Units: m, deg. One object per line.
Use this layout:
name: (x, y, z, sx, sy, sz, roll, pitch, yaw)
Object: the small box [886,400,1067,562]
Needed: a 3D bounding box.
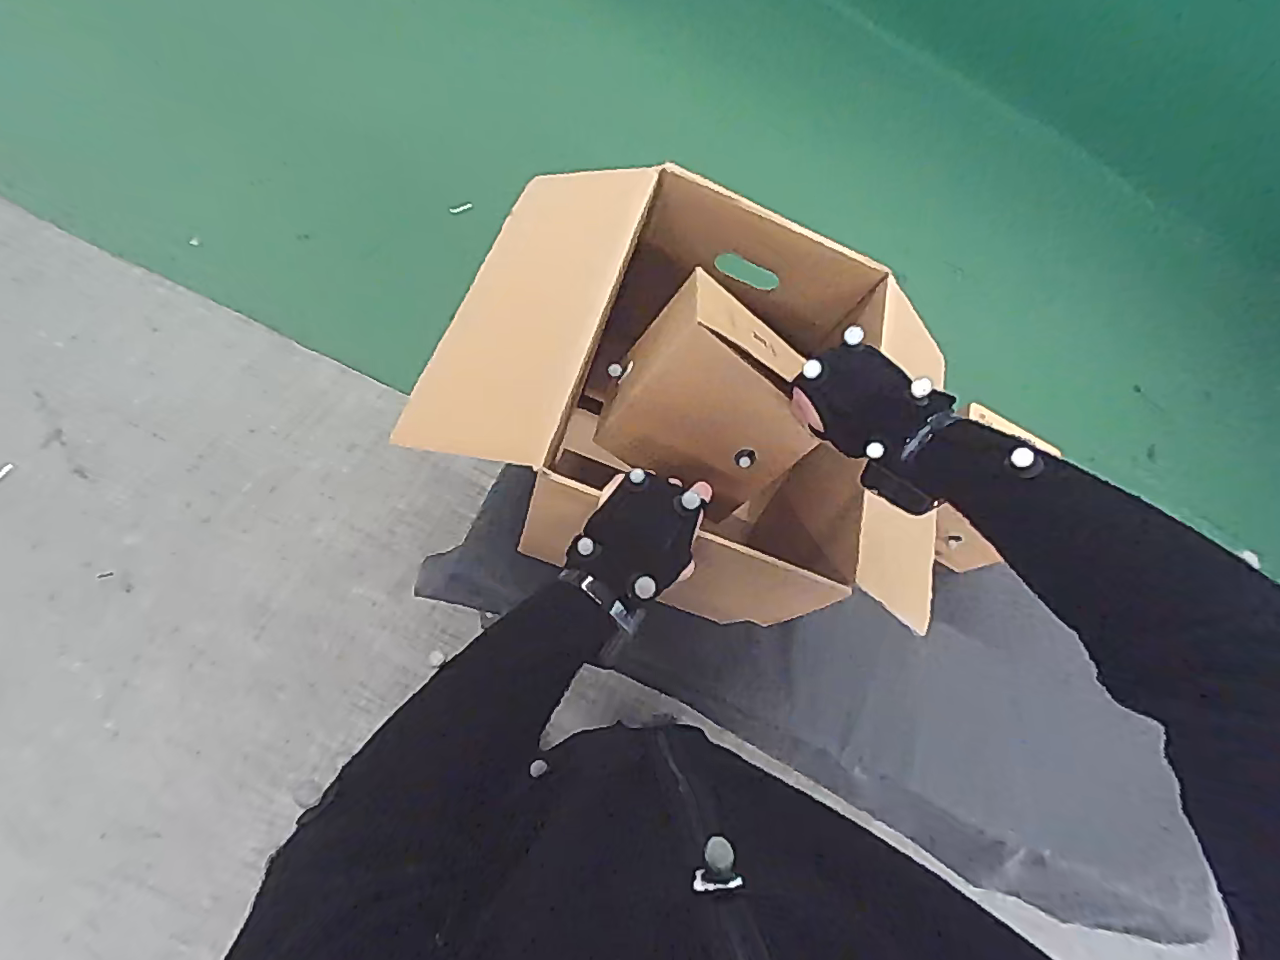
small box: (0.525, 0.012, 0.862, 0.168, 0.176, 0.179, 29, 66, -4)
